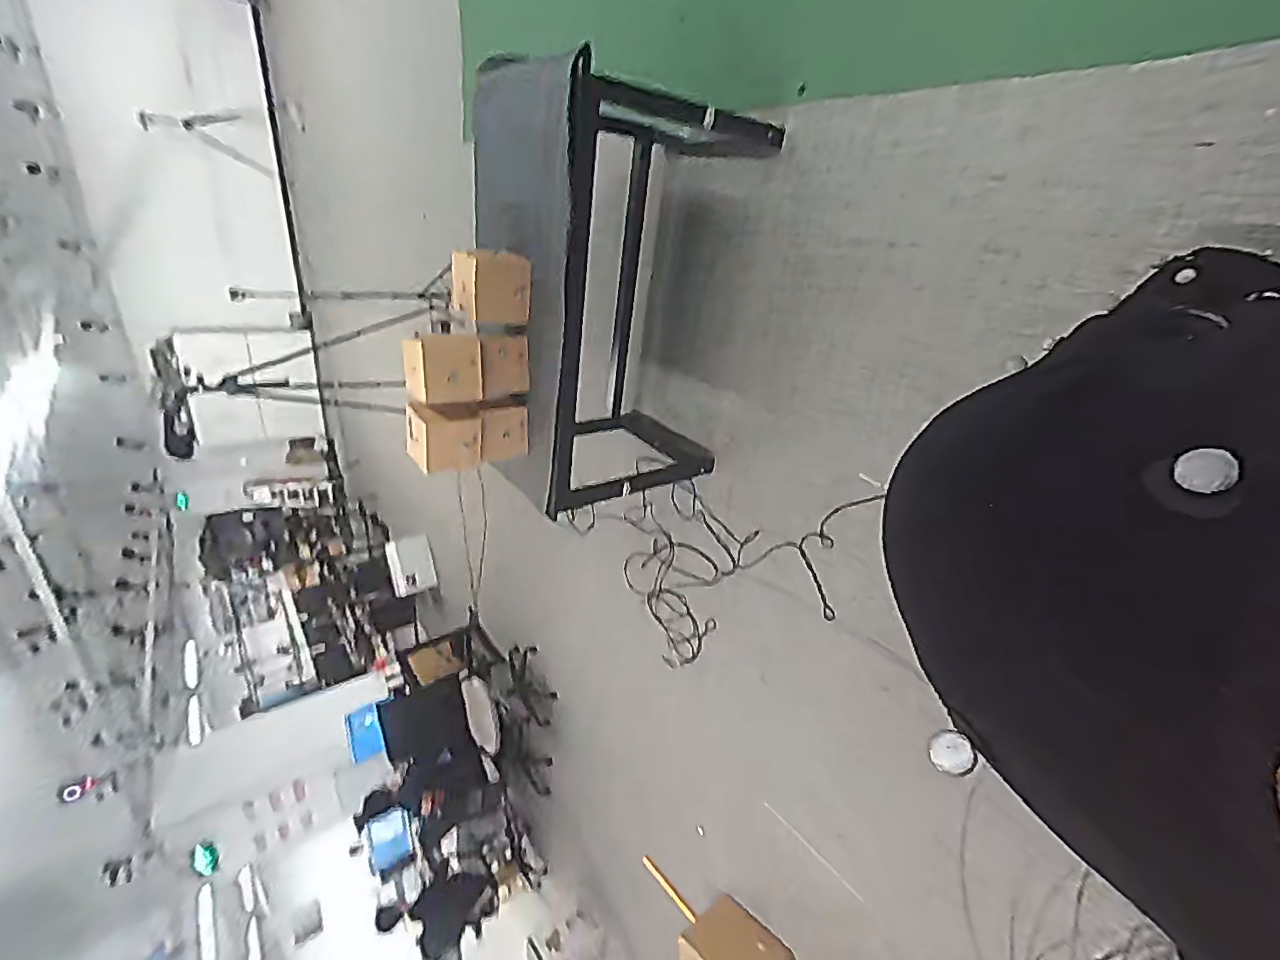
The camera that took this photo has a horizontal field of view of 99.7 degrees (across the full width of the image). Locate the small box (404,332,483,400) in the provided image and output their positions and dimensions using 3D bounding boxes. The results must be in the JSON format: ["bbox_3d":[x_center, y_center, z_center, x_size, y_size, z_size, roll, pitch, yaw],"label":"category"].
[{"bbox_3d":[-0.559,-0.332,1.550,0.179,0.176,0.168,26,119,47],"label":"small box"}]
